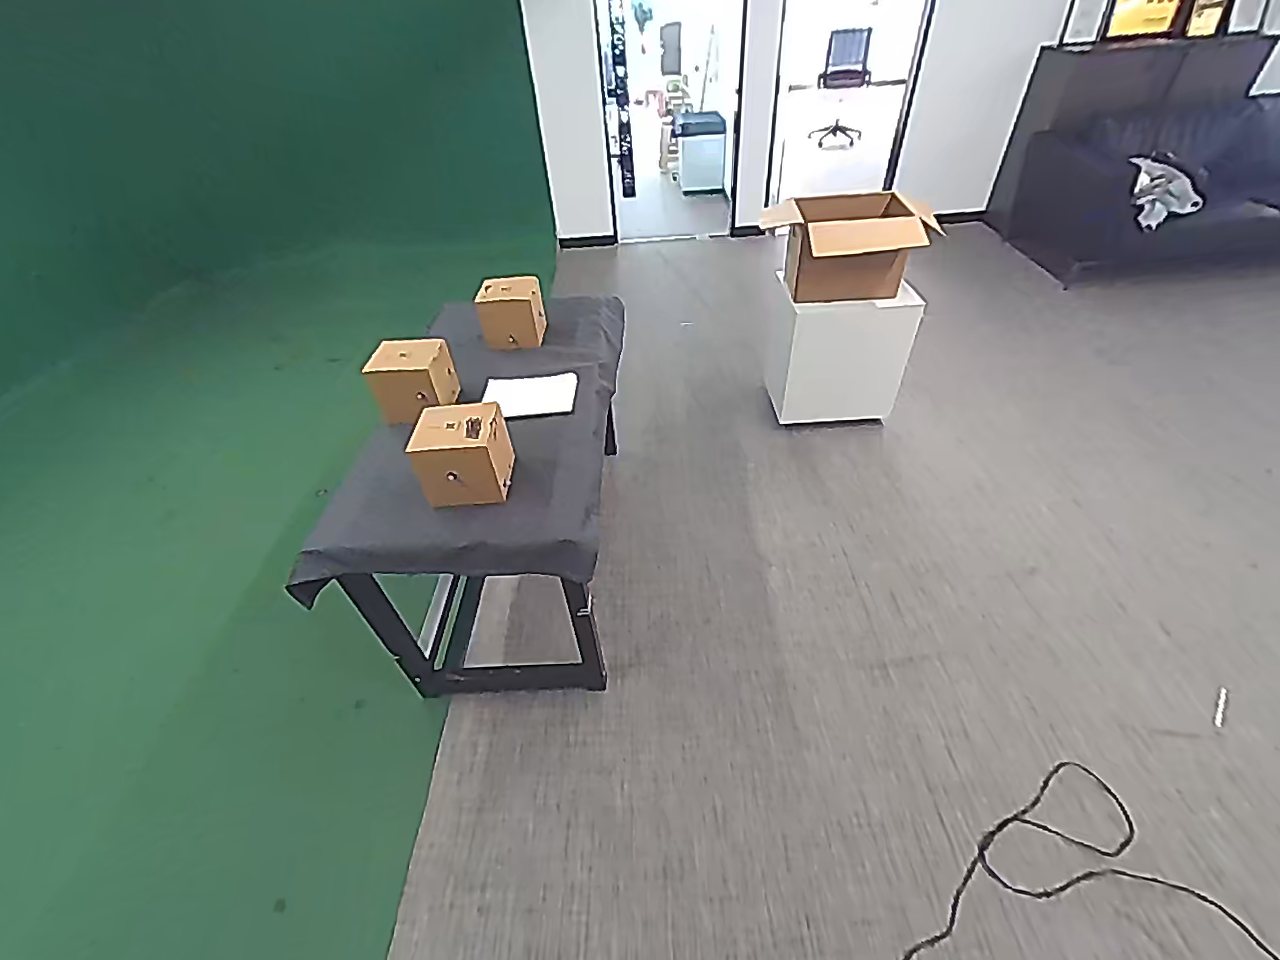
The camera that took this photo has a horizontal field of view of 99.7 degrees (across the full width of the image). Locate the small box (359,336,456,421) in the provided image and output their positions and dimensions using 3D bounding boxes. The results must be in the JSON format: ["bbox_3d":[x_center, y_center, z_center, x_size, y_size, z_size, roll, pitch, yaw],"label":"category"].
[{"bbox_3d":[-0.623,-0.276,1.478,0.179,0.176,0.168,-3,42,1],"label":"small box"}]

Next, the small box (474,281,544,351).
[{"bbox_3d":[-0.418,-0.532,1.760,0.179,0.176,0.168,-1,43,1],"label":"small box"}]

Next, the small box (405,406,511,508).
[{"bbox_3d":[-0.405,-0.051,1.240,0.179,0.176,0.168,-4,42,1],"label":"small box"}]
